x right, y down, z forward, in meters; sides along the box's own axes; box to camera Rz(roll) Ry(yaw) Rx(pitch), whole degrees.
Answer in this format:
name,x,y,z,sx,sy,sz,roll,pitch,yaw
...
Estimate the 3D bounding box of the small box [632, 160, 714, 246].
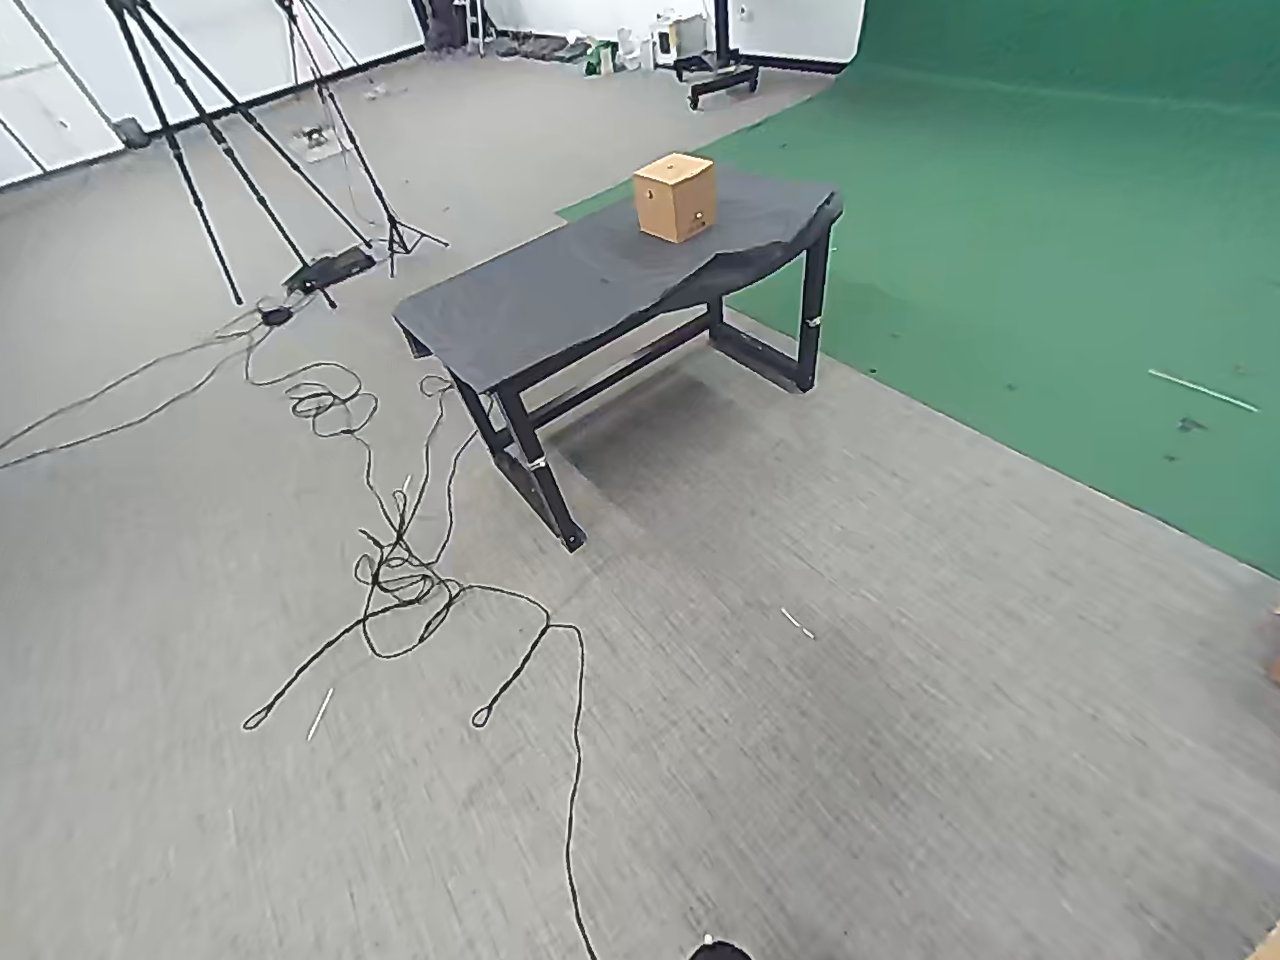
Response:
name,x,y,z,sx,sy,sz,roll,pitch,yaw
small box,0.102,-0.815,1.596,0.168,0.176,0.179,-36,52,-19
